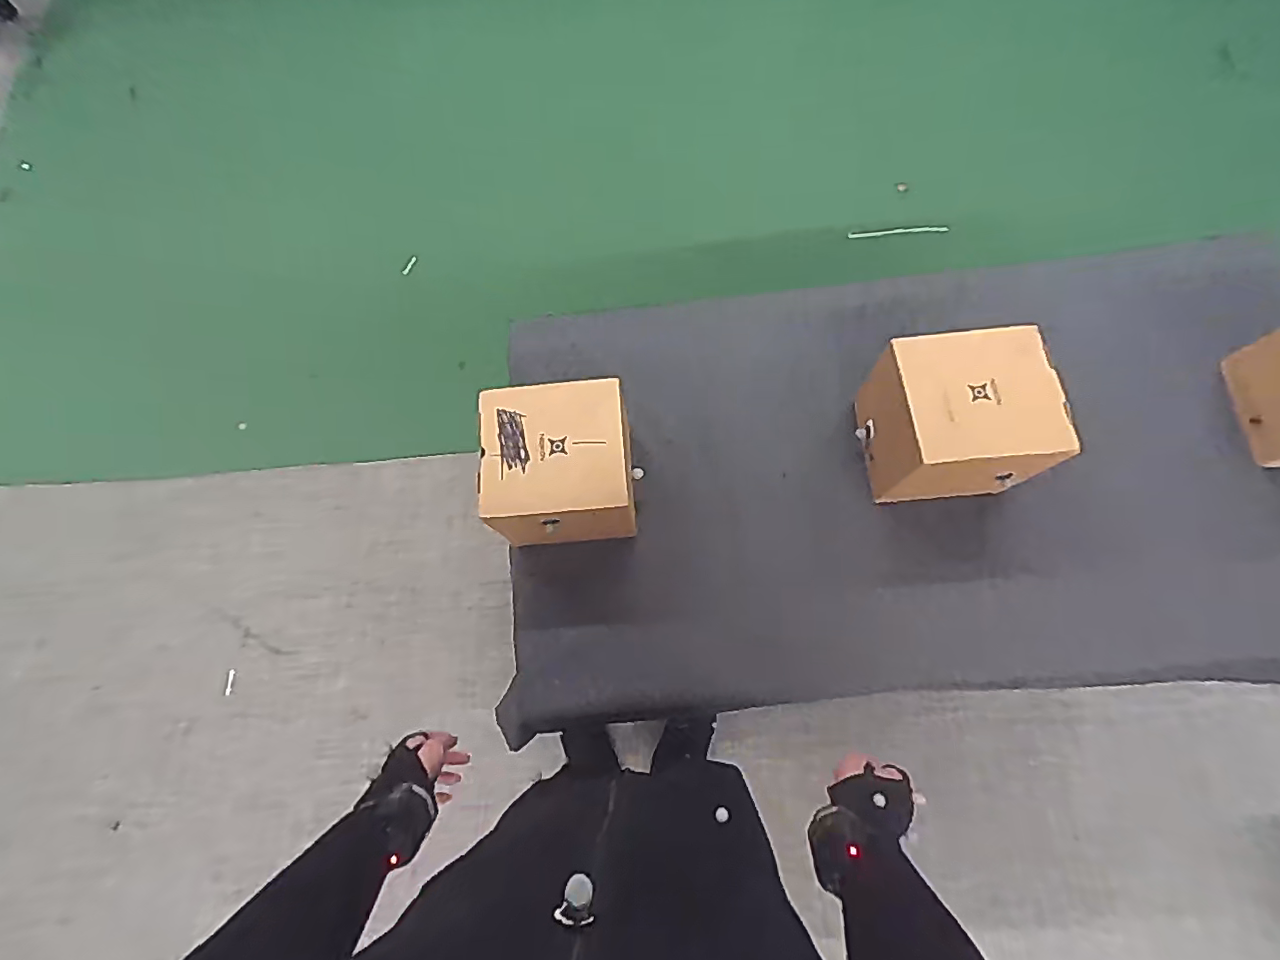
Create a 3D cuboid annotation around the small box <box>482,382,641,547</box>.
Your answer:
[{"bbox_3d":[-0.093,-0.010,0.705,0.179,0.176,0.168,-4,73,0],"label":"small box"}]

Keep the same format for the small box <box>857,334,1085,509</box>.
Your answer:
[{"bbox_3d":[0.409,-0.067,0.703,0.179,0.176,0.168,-6,71,2],"label":"small box"}]

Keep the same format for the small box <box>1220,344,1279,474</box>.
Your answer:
[{"bbox_3d":[0.925,-0.109,0.687,0.179,0.176,0.168,-1,73,2],"label":"small box"}]
